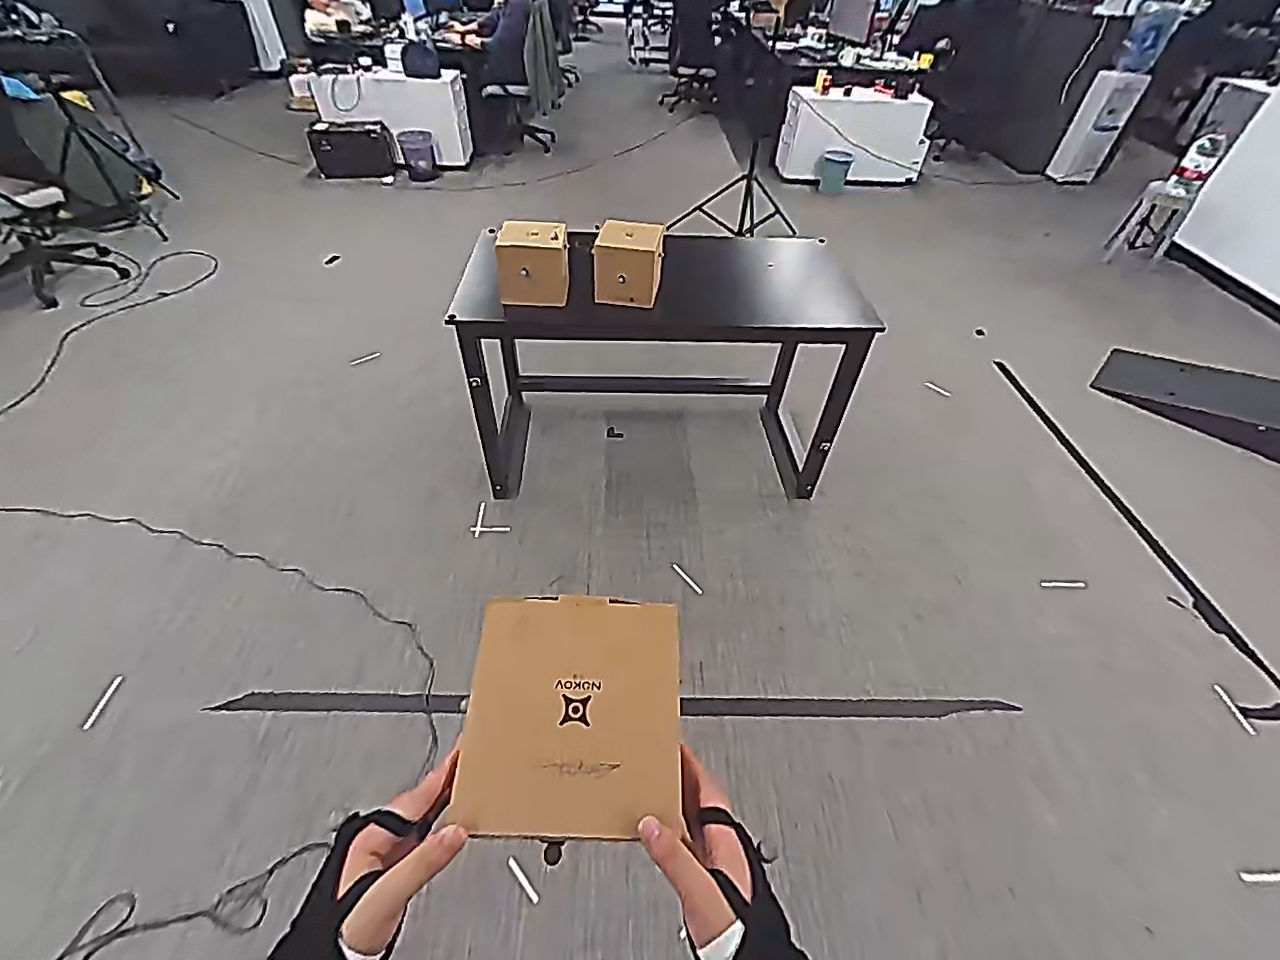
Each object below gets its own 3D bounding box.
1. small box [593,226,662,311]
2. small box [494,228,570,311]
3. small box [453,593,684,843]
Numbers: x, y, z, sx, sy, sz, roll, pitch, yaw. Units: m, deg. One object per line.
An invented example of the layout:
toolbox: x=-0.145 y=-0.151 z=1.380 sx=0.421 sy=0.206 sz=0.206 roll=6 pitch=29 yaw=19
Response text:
small box: x=-0.034 y=-0.600 z=1.540 sx=0.168 sy=0.176 sz=0.179 roll=8 pitch=45 yaw=4
small box: x=-0.296 y=-0.589 z=1.516 sx=0.179 sy=0.176 sz=0.168 roll=1 pitch=46 yaw=-2
small box: x=-0.055 y=0.221 z=0.491 sx=0.168 sy=0.176 sz=0.179 roll=3 pitch=55 yaw=-4
